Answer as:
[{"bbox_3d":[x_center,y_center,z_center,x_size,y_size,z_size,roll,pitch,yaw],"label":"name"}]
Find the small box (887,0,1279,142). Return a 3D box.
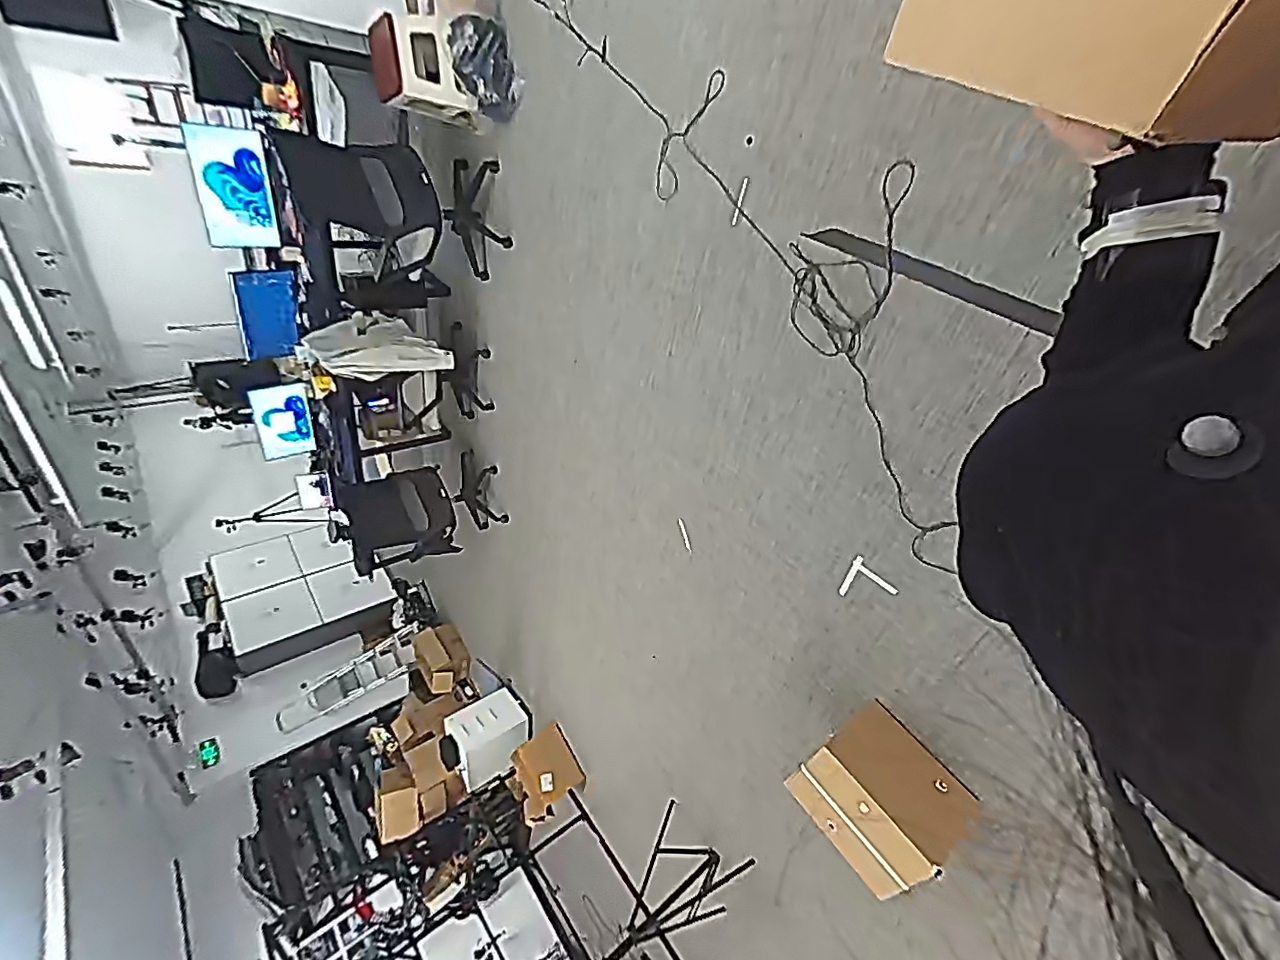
[{"bbox_3d":[0.284,-0.297,0.285,0.179,0.176,0.168,55,149,36],"label":"small box"}]
